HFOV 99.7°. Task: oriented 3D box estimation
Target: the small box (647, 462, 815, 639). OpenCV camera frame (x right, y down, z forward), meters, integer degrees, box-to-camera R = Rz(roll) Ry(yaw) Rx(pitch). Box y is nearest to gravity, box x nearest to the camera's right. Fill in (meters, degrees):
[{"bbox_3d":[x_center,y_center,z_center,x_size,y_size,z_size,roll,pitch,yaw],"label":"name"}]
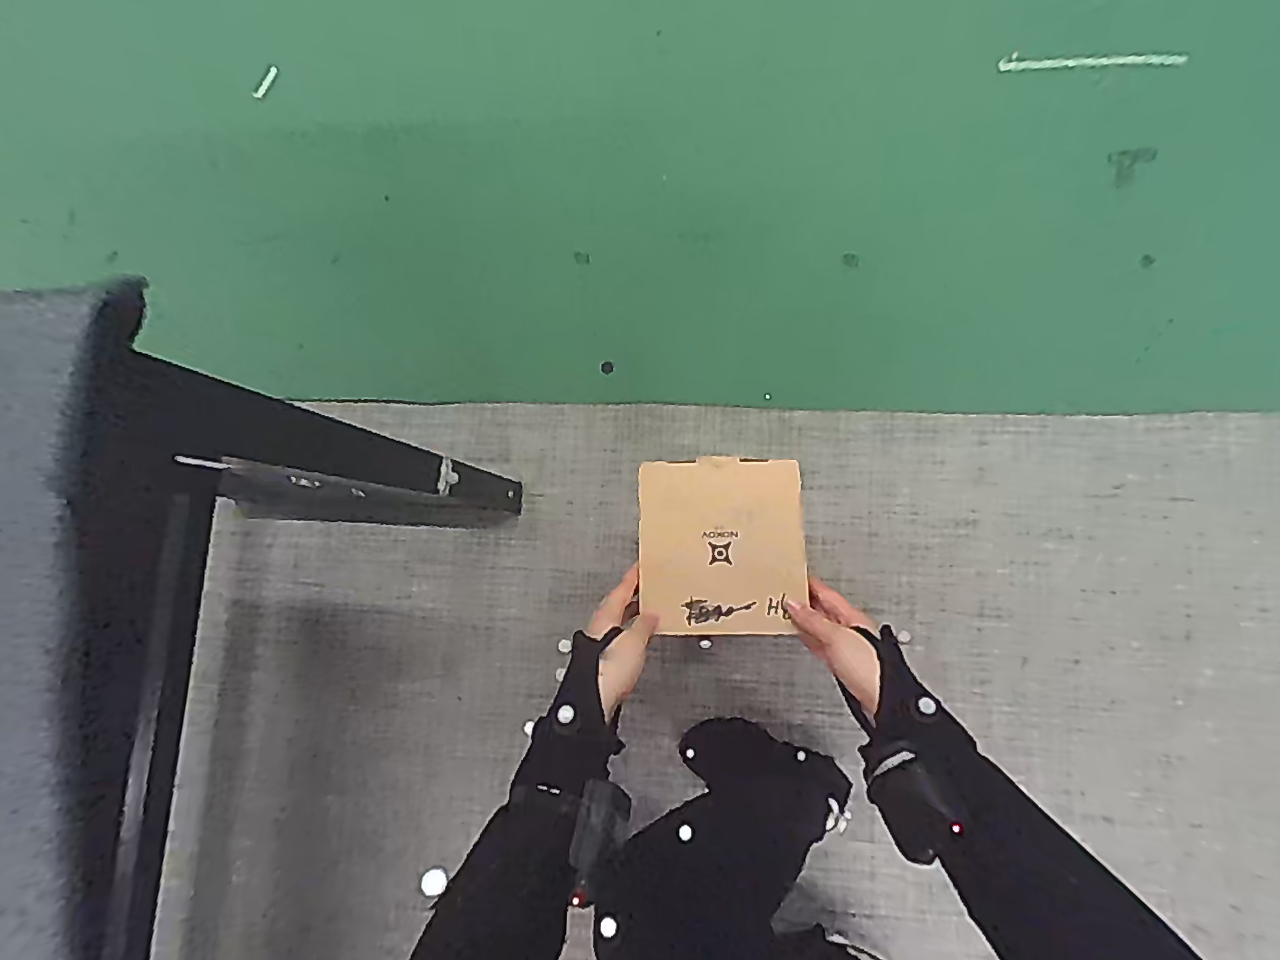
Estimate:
[{"bbox_3d":[0.093,0.084,0.617,0.168,0.176,0.179,-1,79,4],"label":"small box"}]
